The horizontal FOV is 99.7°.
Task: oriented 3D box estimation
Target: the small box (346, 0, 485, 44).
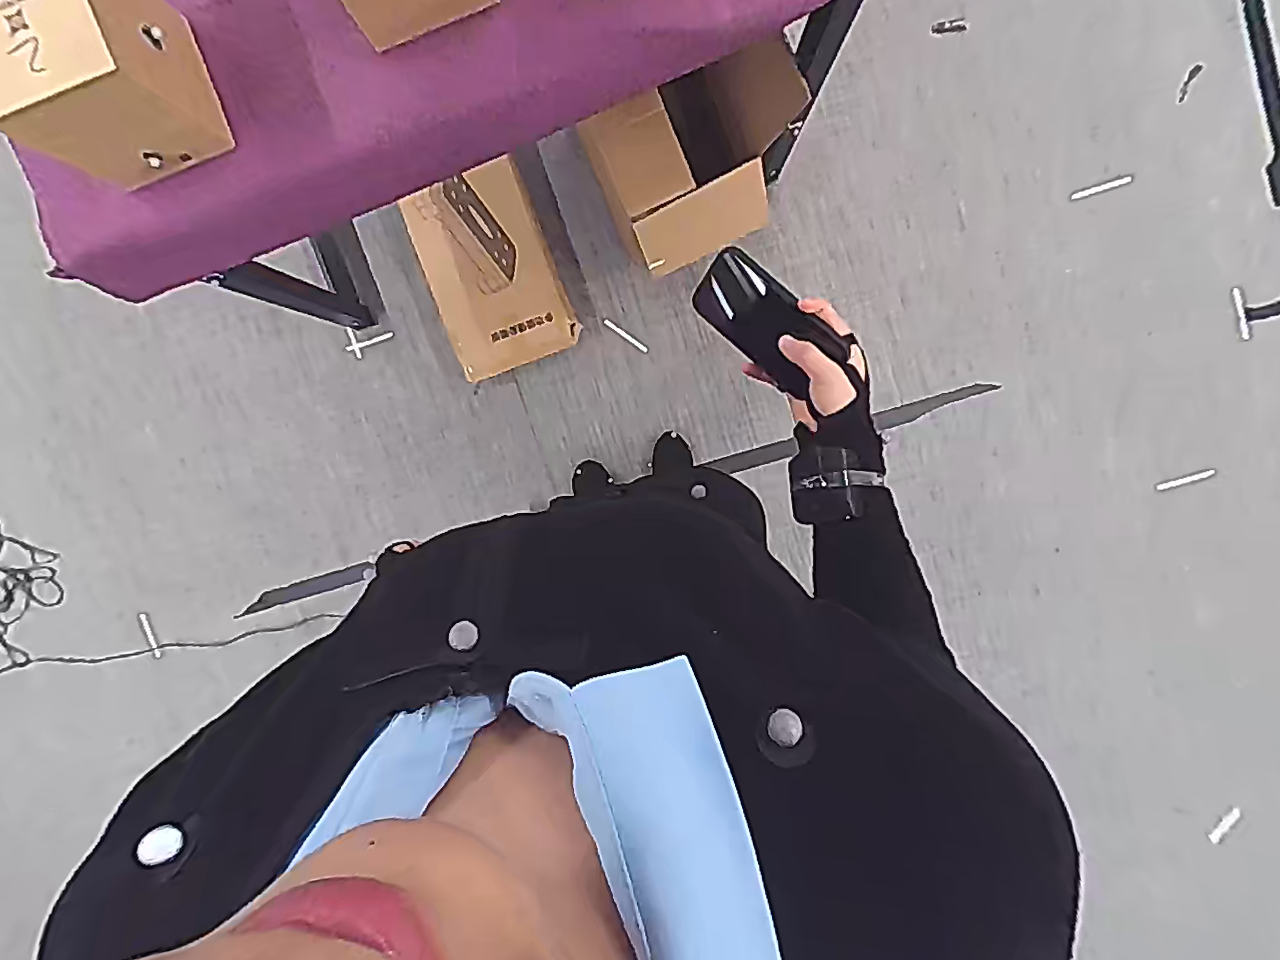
[{"bbox_3d":[-0.284,-0.655,0.609,0.179,0.176,0.168,-19,92,3],"label":"small box"}]
